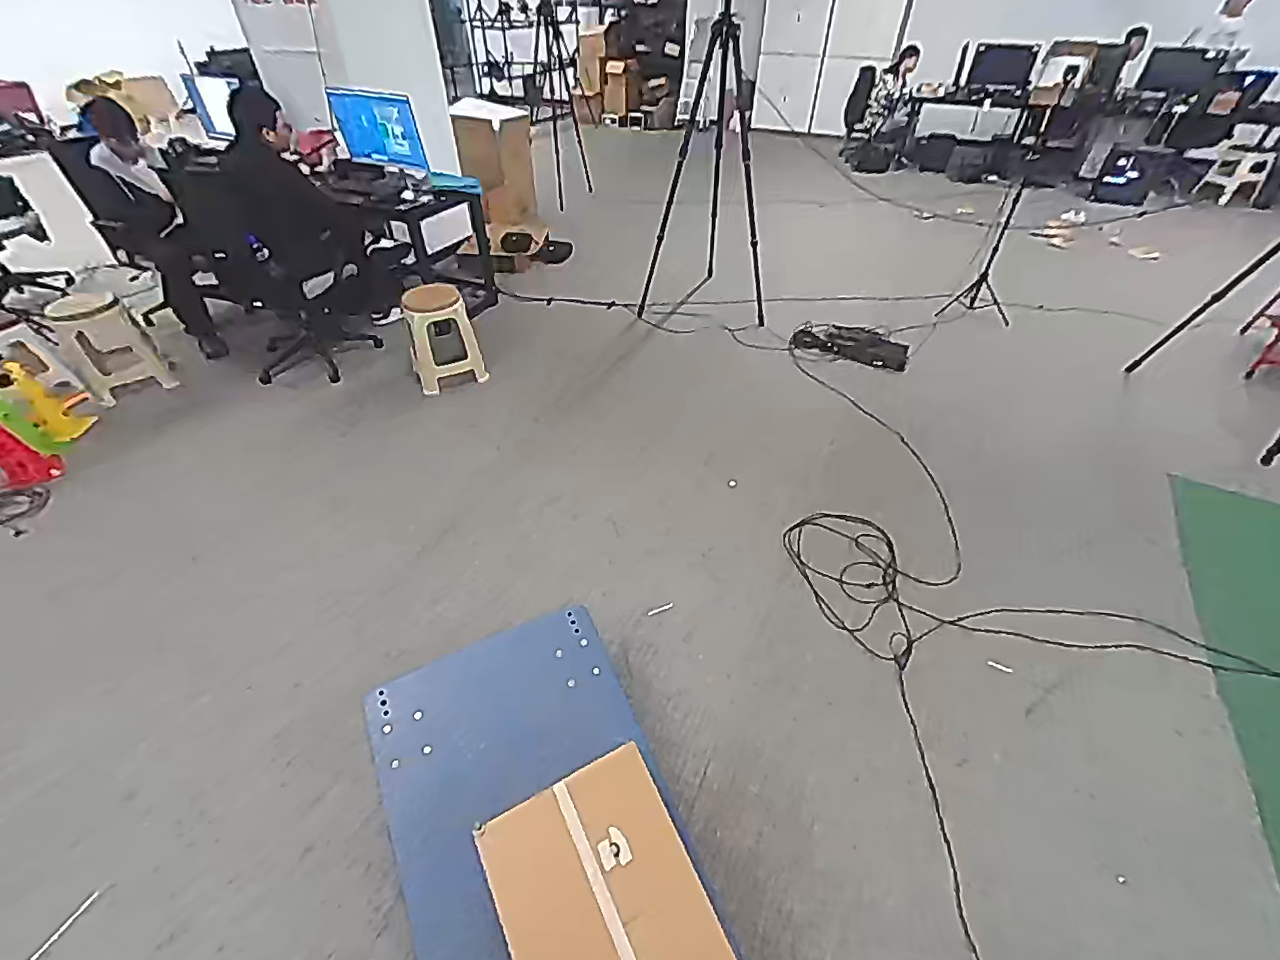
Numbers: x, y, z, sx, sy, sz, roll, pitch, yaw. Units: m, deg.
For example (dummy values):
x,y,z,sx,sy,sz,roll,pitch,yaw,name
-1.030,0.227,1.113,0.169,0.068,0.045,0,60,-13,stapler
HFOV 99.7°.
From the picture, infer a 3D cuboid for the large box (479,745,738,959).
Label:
x,y,z,sx,sy,sz,roll,pitch,yaw,name
-0.071,0.792,1.028,0.320,0.320,0.408,-20,61,-21,large box
